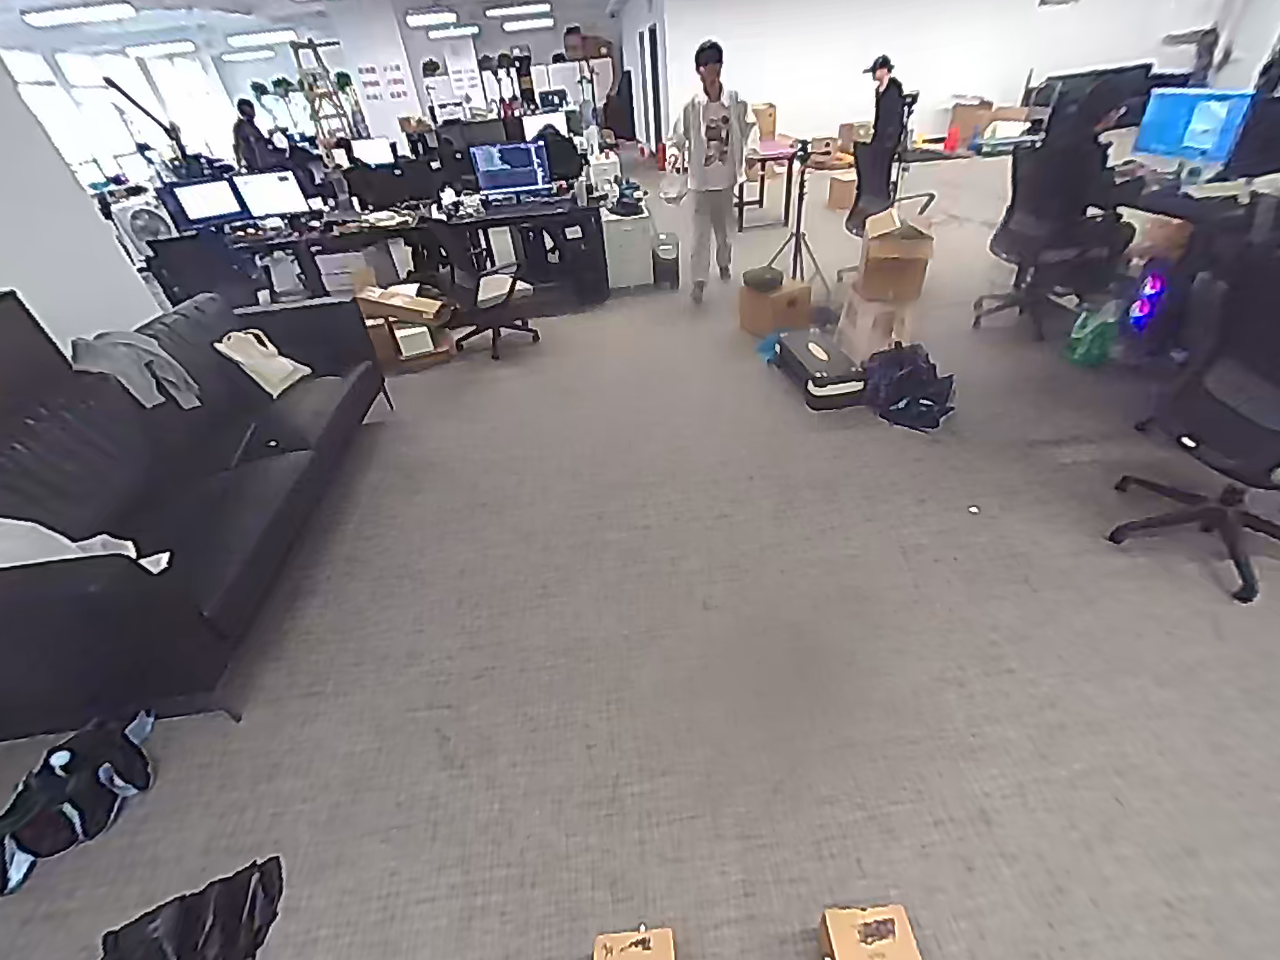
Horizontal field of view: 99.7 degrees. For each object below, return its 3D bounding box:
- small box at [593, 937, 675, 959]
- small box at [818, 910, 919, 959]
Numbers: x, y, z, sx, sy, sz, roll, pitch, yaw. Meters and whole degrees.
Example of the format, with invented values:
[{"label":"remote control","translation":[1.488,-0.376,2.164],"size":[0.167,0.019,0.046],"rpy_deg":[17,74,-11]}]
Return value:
[{"label":"small box","translation":[-0.004,1.064,1.094],"size":[0.168,0.176,0.179],"rpy_deg":[-6,36,1]},{"label":"small box","translation":[0.470,1.009,1.094],"size":[0.168,0.176,0.179],"rpy_deg":[-6,37,2]}]
